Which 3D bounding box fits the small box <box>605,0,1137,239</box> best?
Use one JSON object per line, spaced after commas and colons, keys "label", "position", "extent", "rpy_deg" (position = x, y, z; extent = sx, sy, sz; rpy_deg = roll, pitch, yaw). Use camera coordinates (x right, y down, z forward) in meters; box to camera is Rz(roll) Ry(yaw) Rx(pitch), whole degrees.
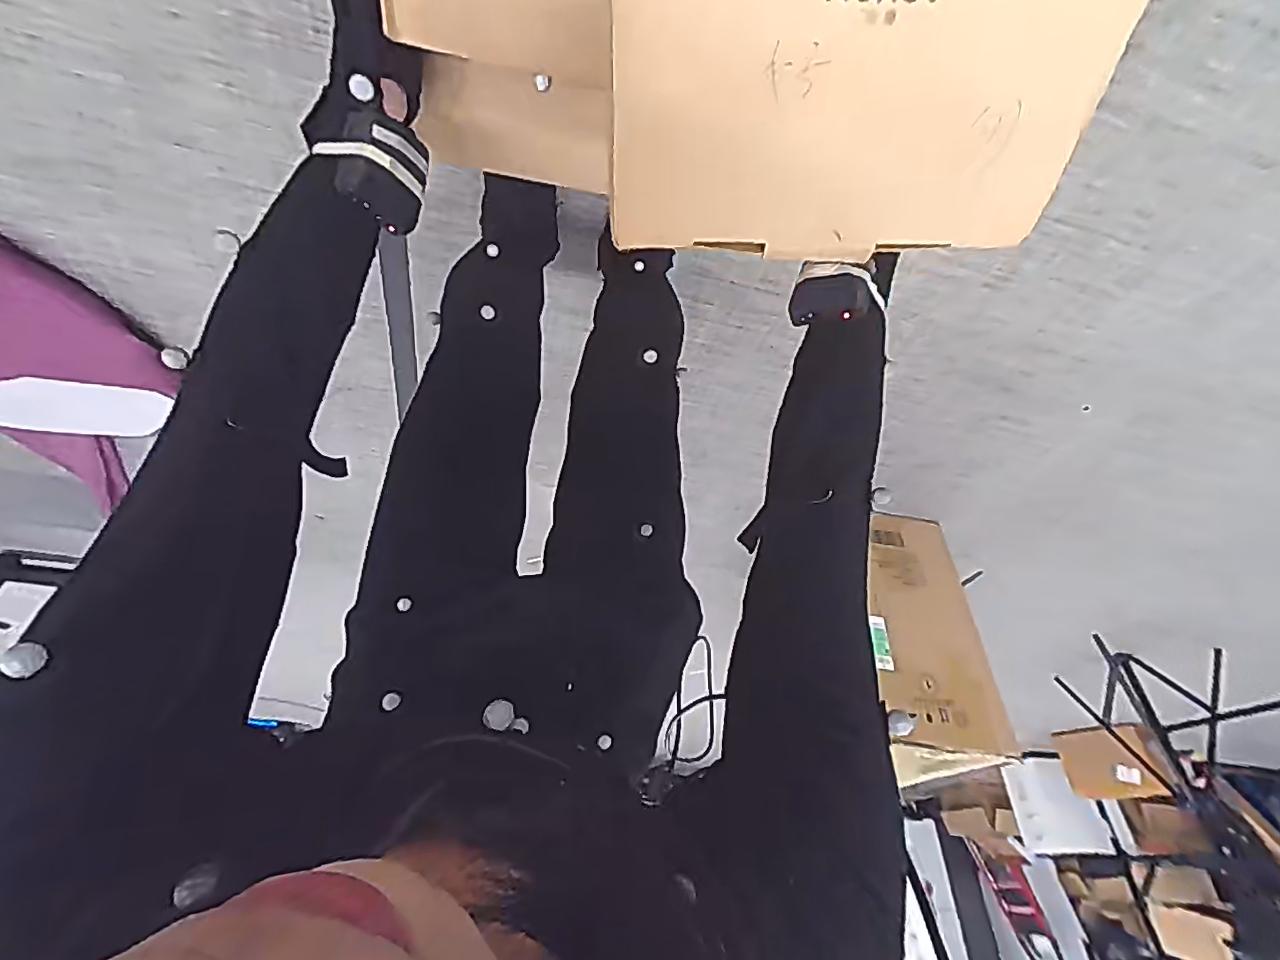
{"label": "small box", "position": [0.070, -0.215, 0.212], "extent": [0.168, 0.176, 0.179], "rpy_deg": [-1, 133, -3]}
